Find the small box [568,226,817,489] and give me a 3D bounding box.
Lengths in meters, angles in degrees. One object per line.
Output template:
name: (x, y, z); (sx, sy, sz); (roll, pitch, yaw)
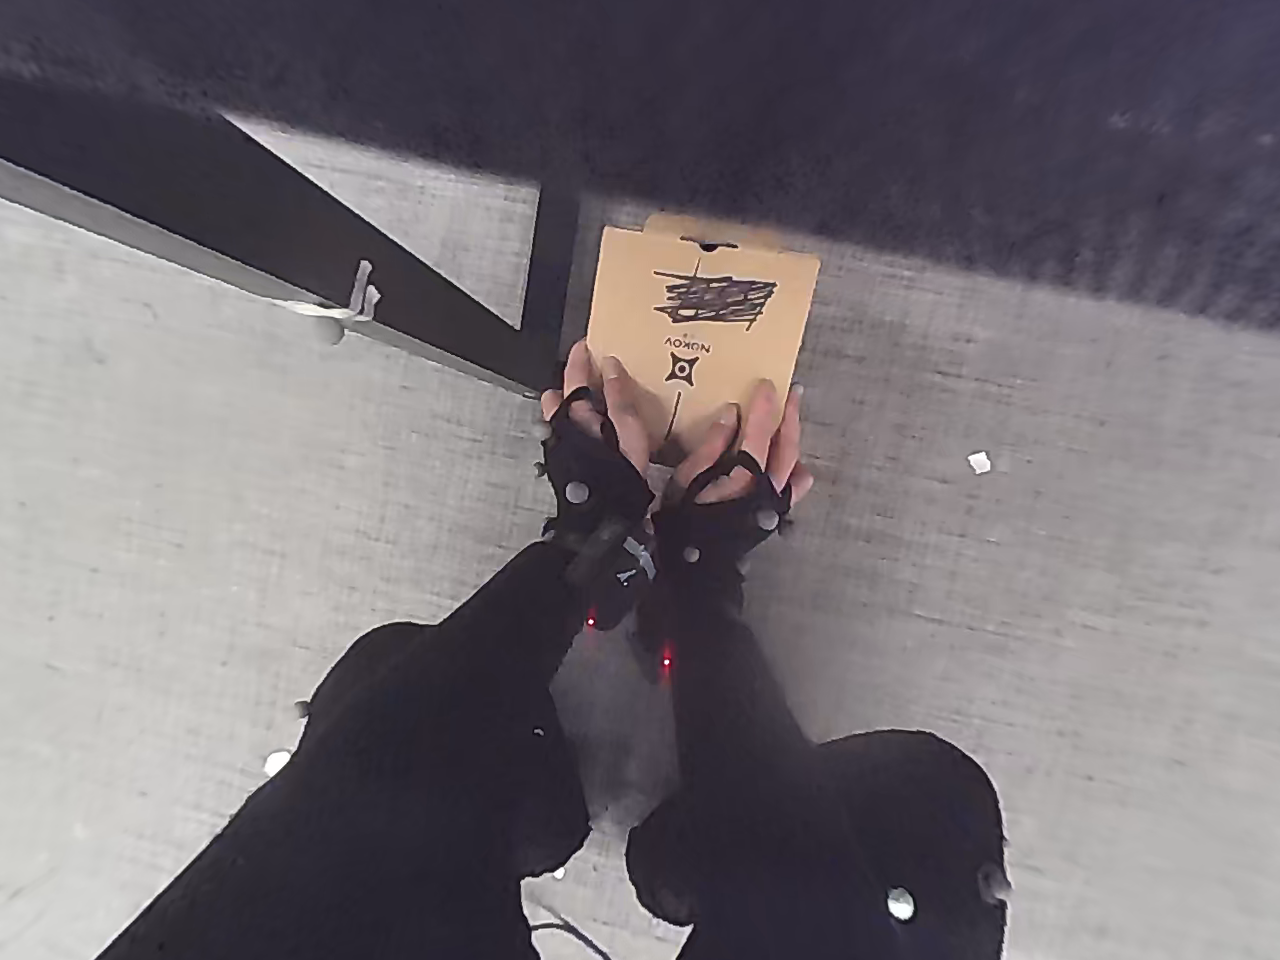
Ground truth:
small box: (0.050, -0.106, 0.484); (0.168, 0.176, 0.179); (11, 103, 11)
